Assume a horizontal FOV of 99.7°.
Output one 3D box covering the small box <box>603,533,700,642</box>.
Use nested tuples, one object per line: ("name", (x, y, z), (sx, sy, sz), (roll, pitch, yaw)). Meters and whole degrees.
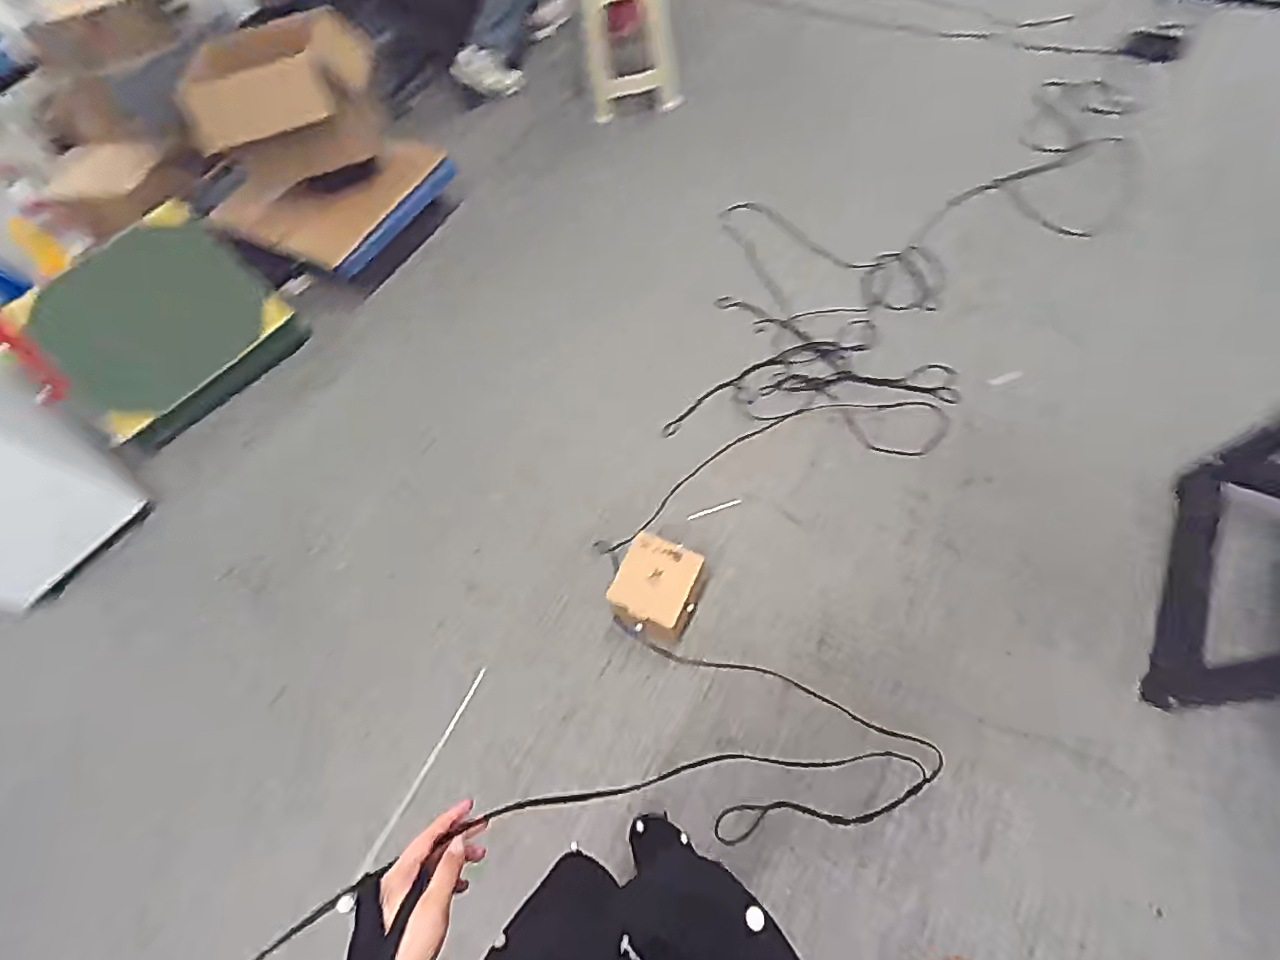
("small box", (0.037, 0.255, 1.252), (0.168, 0.176, 0.179), (20, 67, 17))
